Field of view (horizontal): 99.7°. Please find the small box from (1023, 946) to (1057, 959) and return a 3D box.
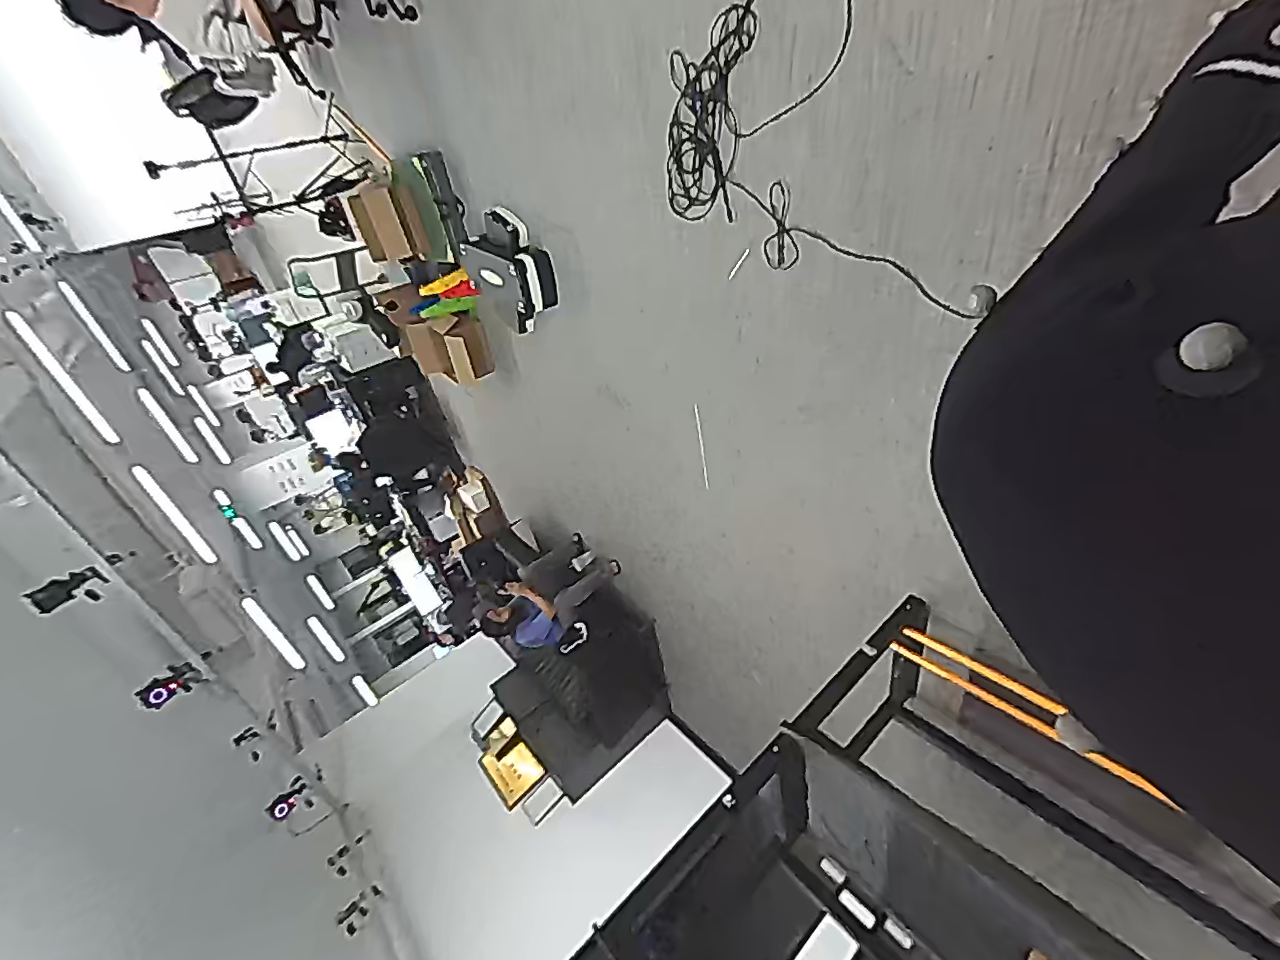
[{"bbox_3d":[0.902,1.182,1.176,0.168,0.176,0.179,27,139,45],"label":"small box"}]
